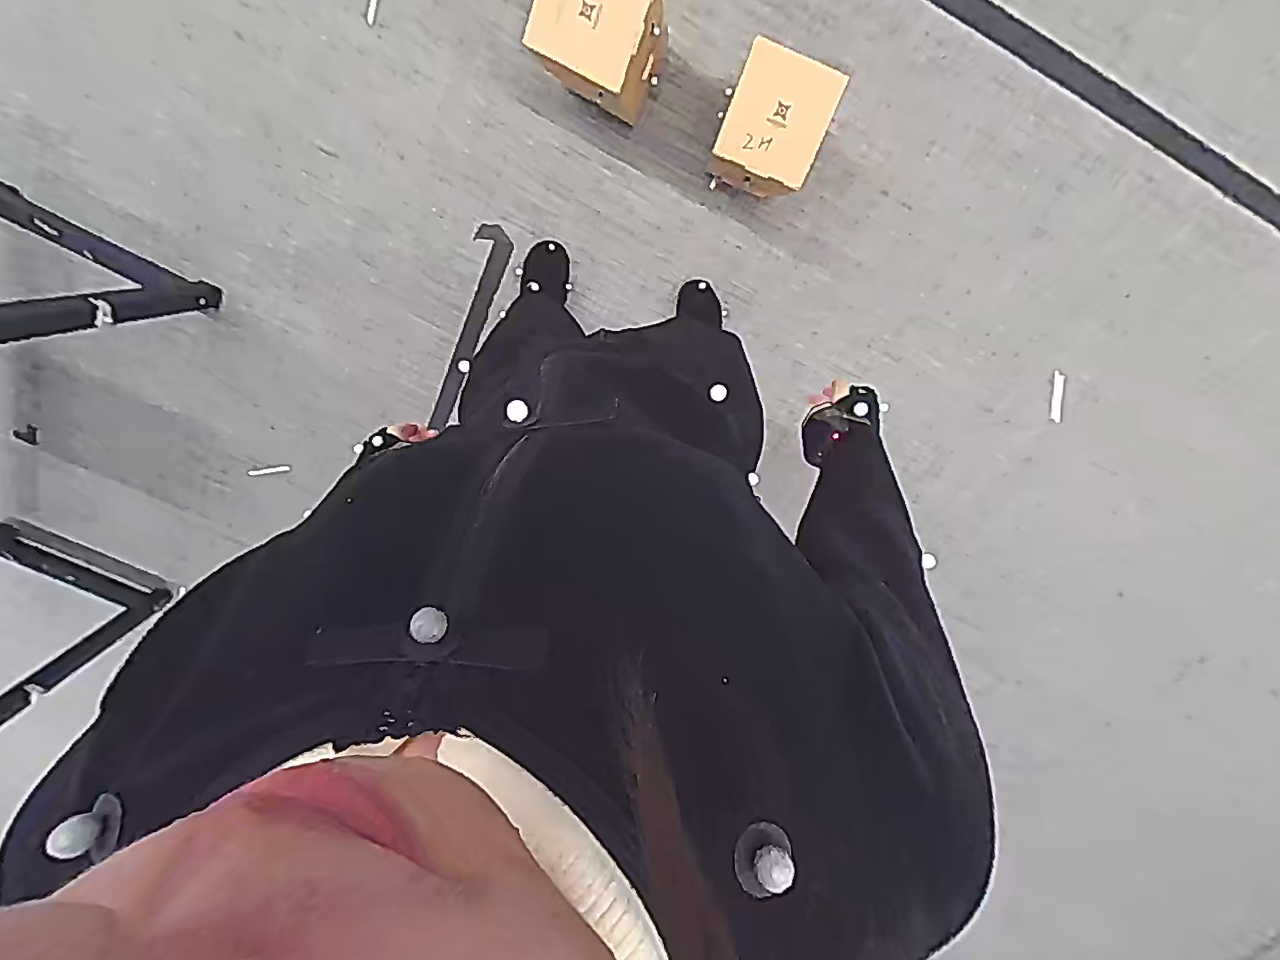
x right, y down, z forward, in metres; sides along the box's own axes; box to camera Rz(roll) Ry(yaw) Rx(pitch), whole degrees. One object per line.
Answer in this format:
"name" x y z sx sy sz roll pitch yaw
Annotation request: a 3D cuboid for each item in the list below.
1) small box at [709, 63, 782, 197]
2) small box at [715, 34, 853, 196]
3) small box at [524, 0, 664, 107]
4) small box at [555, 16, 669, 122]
"small box" 0.249 -0.696 1.101 0.168 0.176 0.179 20 115 -5
"small box" 0.237 -0.625 0.952 0.168 0.176 0.179 21 115 -5
"small box" -0.069 -0.763 0.913 0.179 0.176 0.168 25 114 -6
"small box" -0.054 -0.835 1.059 0.179 0.176 0.168 26 114 -8
